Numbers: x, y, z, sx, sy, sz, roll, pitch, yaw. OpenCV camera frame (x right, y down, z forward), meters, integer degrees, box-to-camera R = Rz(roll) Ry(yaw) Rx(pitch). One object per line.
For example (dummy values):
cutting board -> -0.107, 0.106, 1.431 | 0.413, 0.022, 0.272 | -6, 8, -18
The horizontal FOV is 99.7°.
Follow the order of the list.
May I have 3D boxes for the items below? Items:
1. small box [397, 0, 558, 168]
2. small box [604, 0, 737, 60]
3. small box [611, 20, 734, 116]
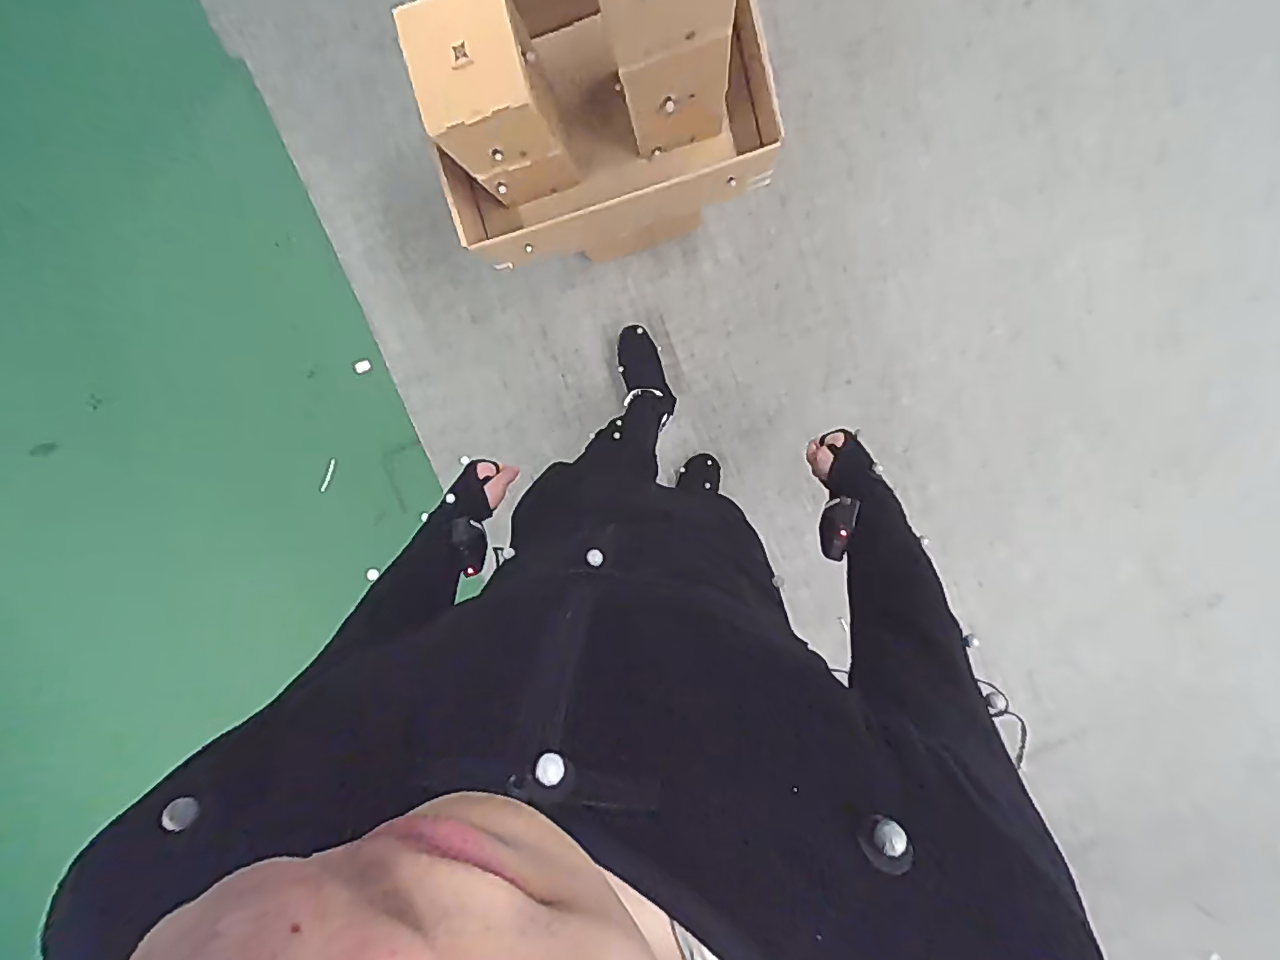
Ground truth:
small box -> -0.245, -0.634, 0.855 | 0.168, 0.176, 0.179 | -13, 99, 8
small box -> 0.022, -0.666, 0.650 | 0.168, 0.176, 0.179 | -13, 99, 10
small box -> 0.039, -0.696, 0.810 | 0.168, 0.176, 0.179 | -13, 100, 9
